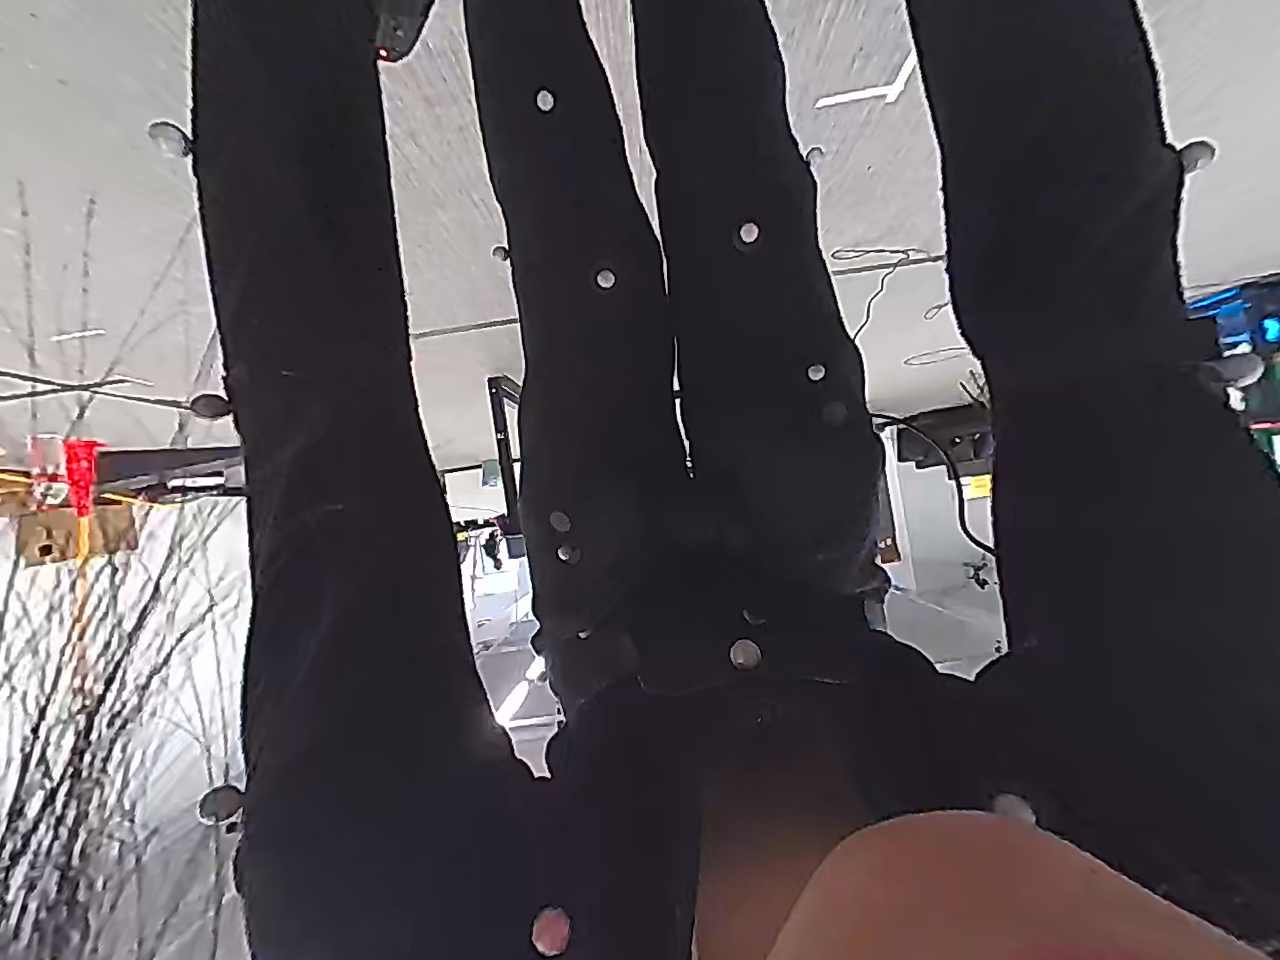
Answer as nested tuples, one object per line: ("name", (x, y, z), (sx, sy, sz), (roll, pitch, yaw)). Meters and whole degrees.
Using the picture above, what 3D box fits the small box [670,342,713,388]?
("small box", (0.235, -0.536, 2.505), (0.168, 0.176, 0.179), (-9, 179, -1))

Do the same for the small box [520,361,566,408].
("small box", (-0.448, -0.435, 2.466), (0.179, 0.176, 0.168), (-9, 178, -16))

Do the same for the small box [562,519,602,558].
("small box", (-0.287, 0.288, 2.693), (0.179, 0.176, 0.168), (-9, 179, -1))
